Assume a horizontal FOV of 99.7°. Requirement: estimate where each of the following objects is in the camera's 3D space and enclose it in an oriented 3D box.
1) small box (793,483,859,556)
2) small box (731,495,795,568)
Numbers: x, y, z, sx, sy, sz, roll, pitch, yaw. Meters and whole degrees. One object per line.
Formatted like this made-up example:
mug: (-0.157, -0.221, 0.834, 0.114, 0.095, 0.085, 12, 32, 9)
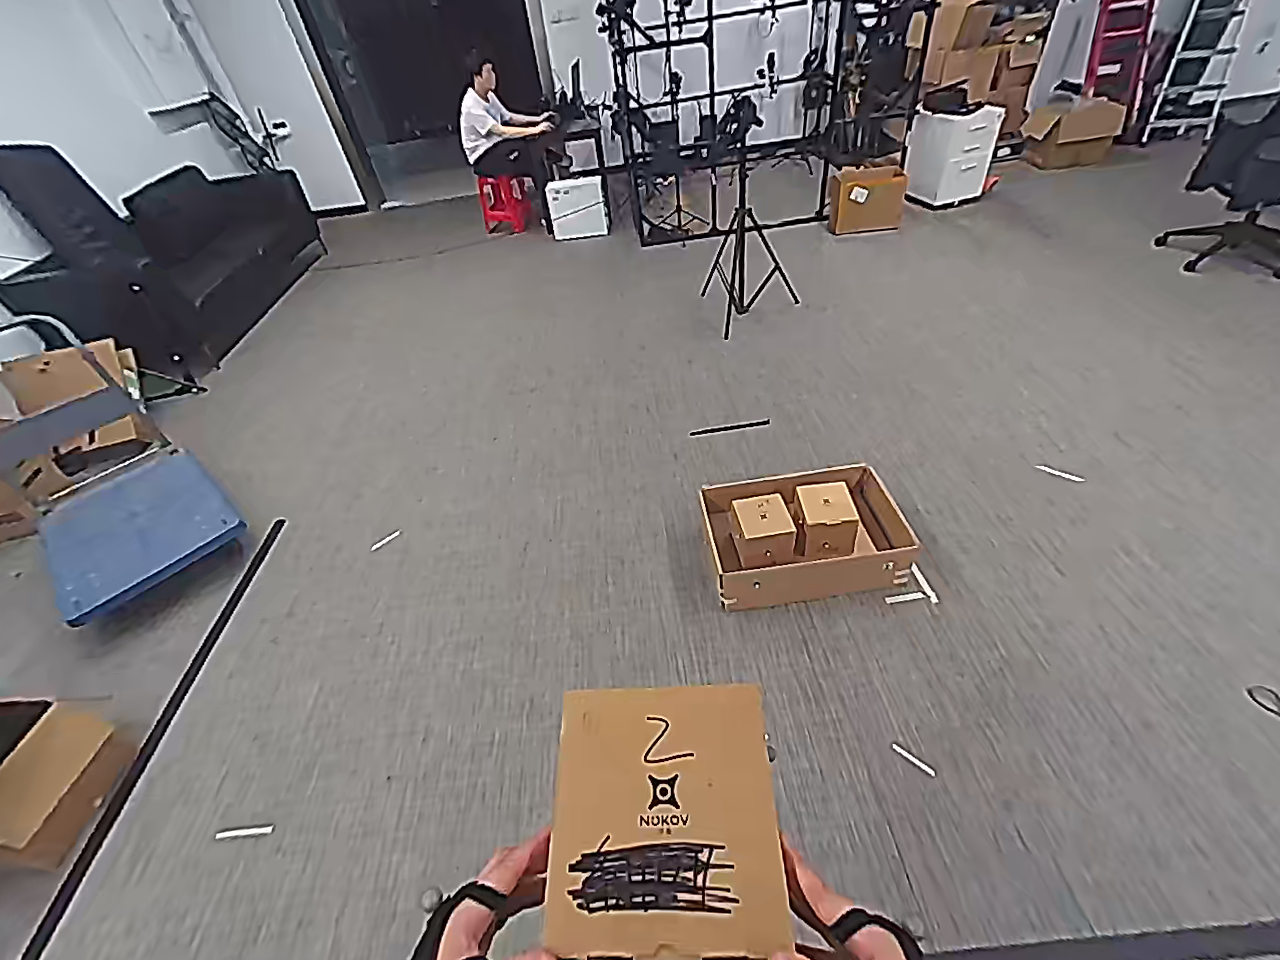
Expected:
small box: (0.618, 0.134, 1.822, 0.168, 0.176, 0.179, -5, 43, 5)
small box: (0.405, 0.178, 1.807, 0.168, 0.176, 0.179, -9, 42, -2)
